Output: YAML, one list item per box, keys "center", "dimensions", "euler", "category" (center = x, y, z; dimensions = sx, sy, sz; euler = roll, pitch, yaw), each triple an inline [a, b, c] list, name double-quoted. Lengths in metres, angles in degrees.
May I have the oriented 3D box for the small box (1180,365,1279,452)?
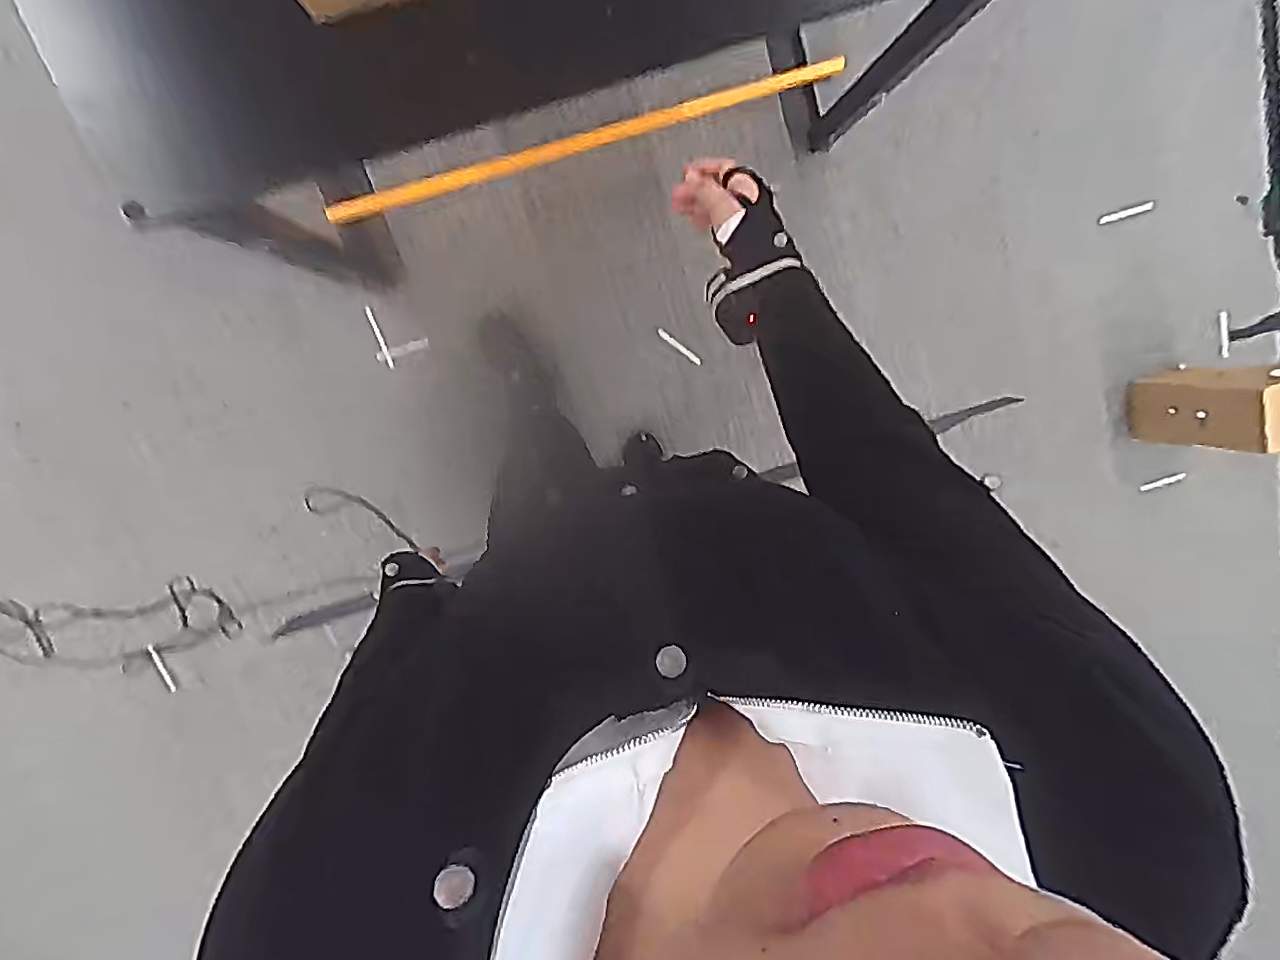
- center: [1.530, -0.186, 1.360]
  dimensions: [0.179, 0.176, 0.168]
  euler: [-20, 102, 0]
  category: "small box"

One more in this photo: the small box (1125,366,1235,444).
- center: [1.514, -0.215, 1.519]
  dimensions: [0.168, 0.176, 0.179]
  euler: [-15, 104, -2]
  category: "small box"
